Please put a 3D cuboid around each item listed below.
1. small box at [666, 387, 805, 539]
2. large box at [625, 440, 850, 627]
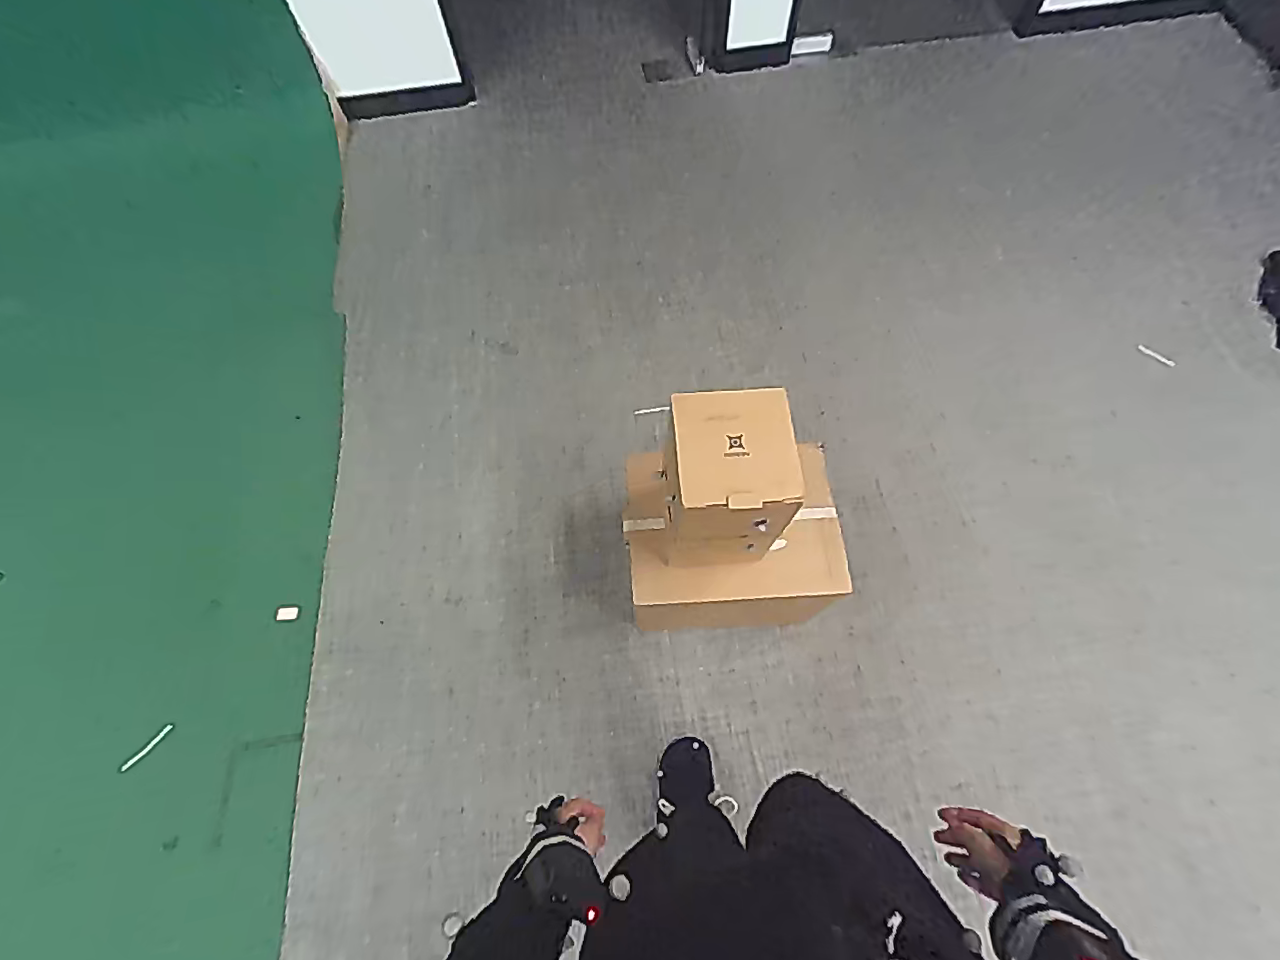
[{"bbox_3d":[0.129,-0.017,0.802,0.168,0.176,0.179,-3,66,-2],"label":"small box"},{"bbox_3d":[0.180,0.131,1.181,0.408,0.320,0.320,-3,67,-1],"label":"large box"}]
